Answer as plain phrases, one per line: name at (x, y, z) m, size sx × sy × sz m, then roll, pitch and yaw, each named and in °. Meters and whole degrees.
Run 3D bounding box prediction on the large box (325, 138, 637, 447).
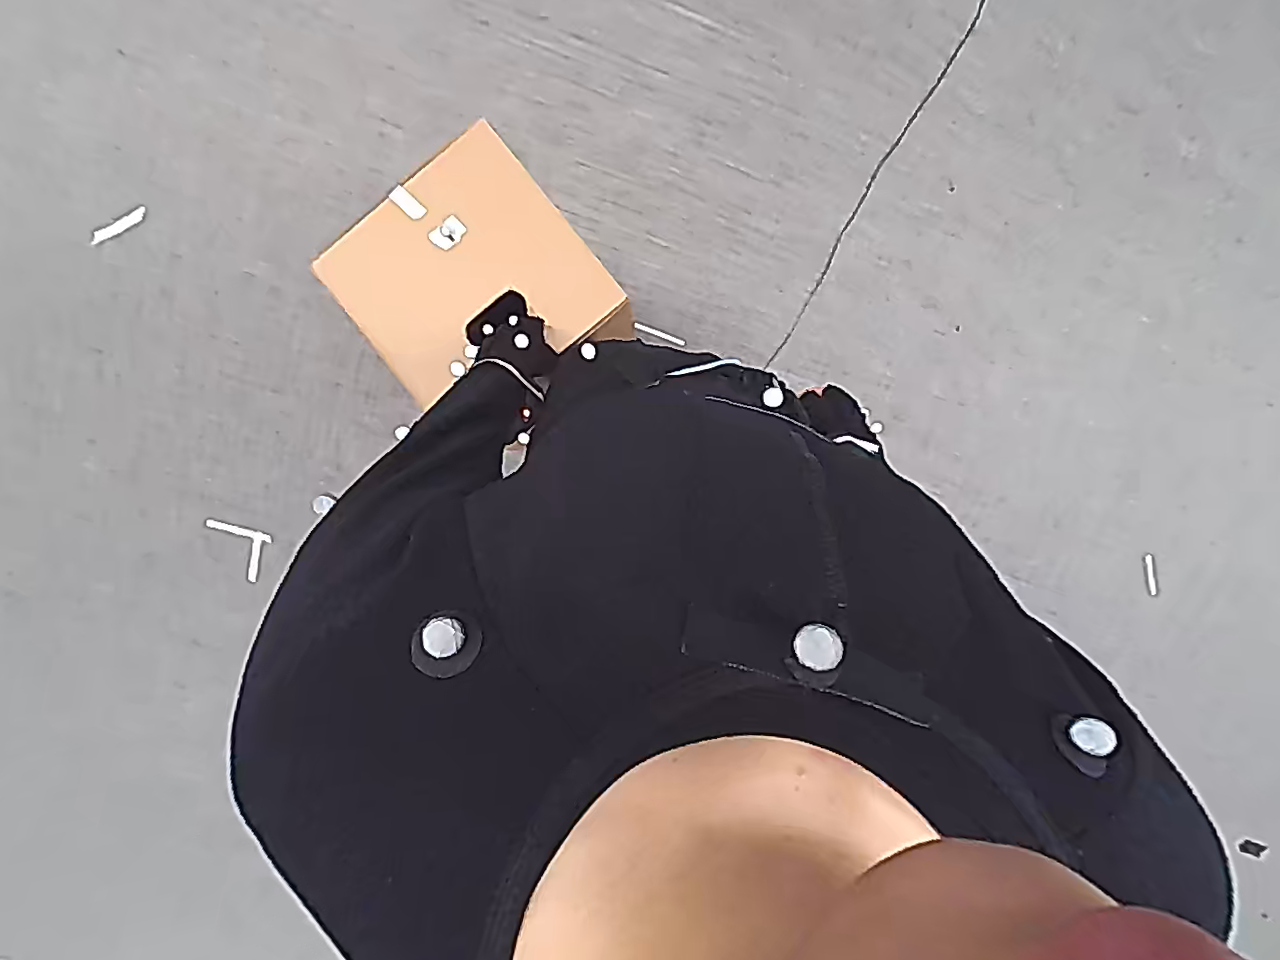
large box at (-0.224, -0.270, 0.932) m, size 0.320 × 0.408 × 0.320 m, roll -38°, pitch 92°, yaw 3°
